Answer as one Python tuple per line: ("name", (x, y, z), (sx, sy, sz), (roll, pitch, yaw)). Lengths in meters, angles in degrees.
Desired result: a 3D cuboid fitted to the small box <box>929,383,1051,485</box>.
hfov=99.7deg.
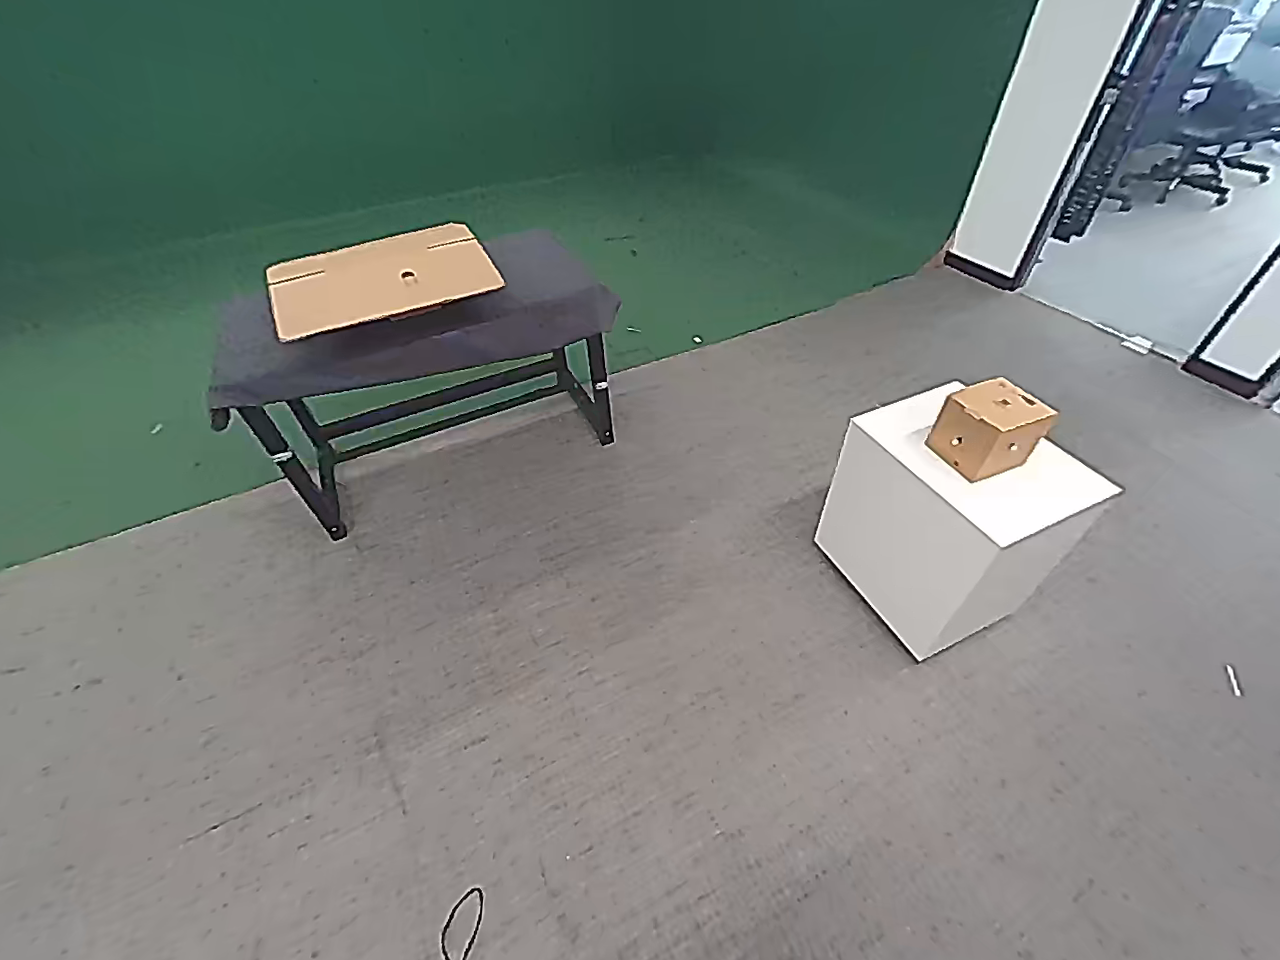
("small box", (0.860, -0.113, 1.354), (0.179, 0.176, 0.168), (-19, 47, -16))
